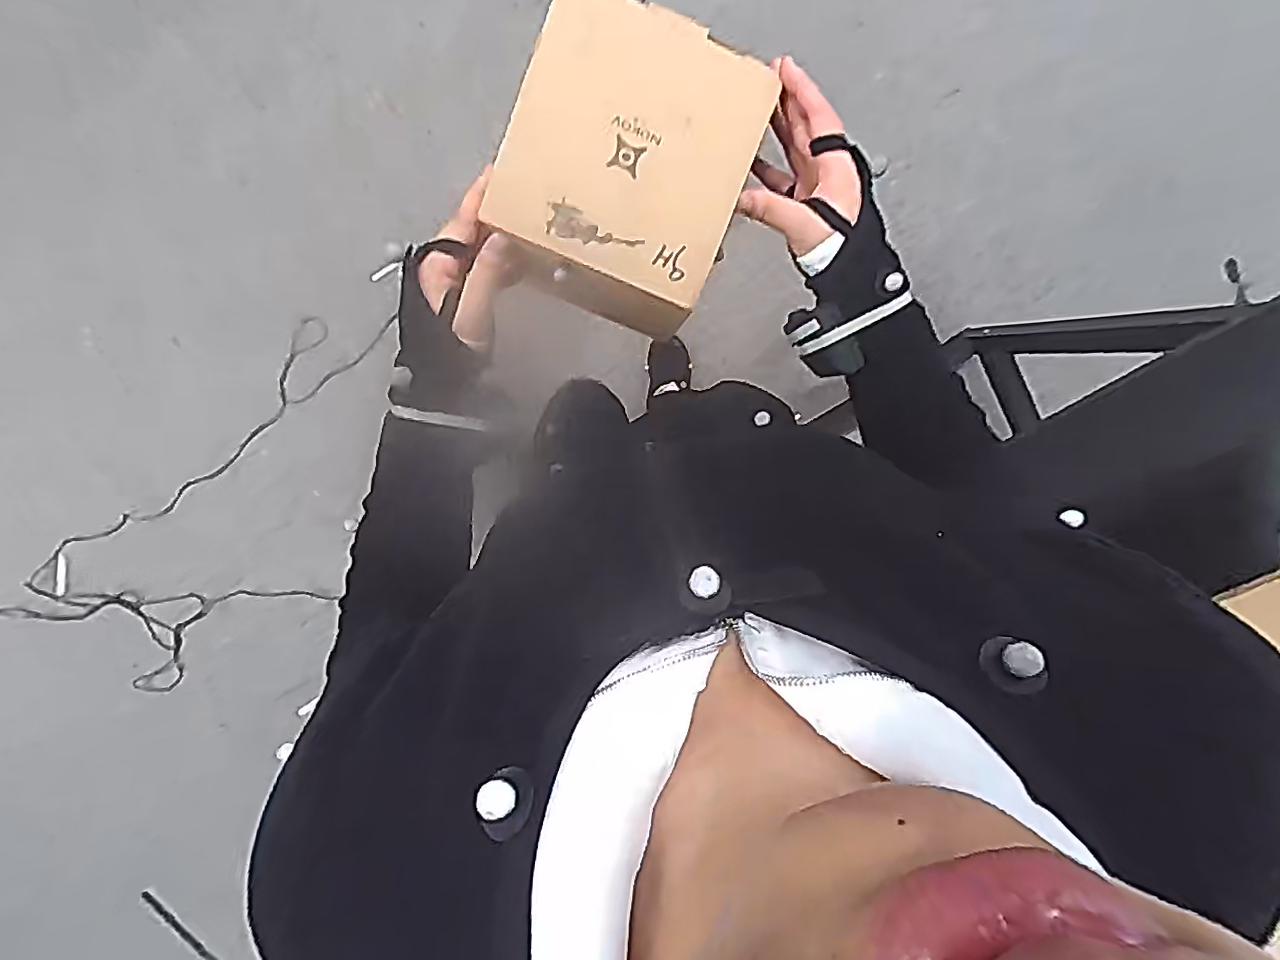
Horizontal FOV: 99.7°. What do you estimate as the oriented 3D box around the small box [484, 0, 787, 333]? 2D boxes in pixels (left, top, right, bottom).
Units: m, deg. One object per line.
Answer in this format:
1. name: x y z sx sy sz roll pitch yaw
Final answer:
1. small box: -0.008 -0.246 0.452 0.168 0.176 0.179 21 94 -5
